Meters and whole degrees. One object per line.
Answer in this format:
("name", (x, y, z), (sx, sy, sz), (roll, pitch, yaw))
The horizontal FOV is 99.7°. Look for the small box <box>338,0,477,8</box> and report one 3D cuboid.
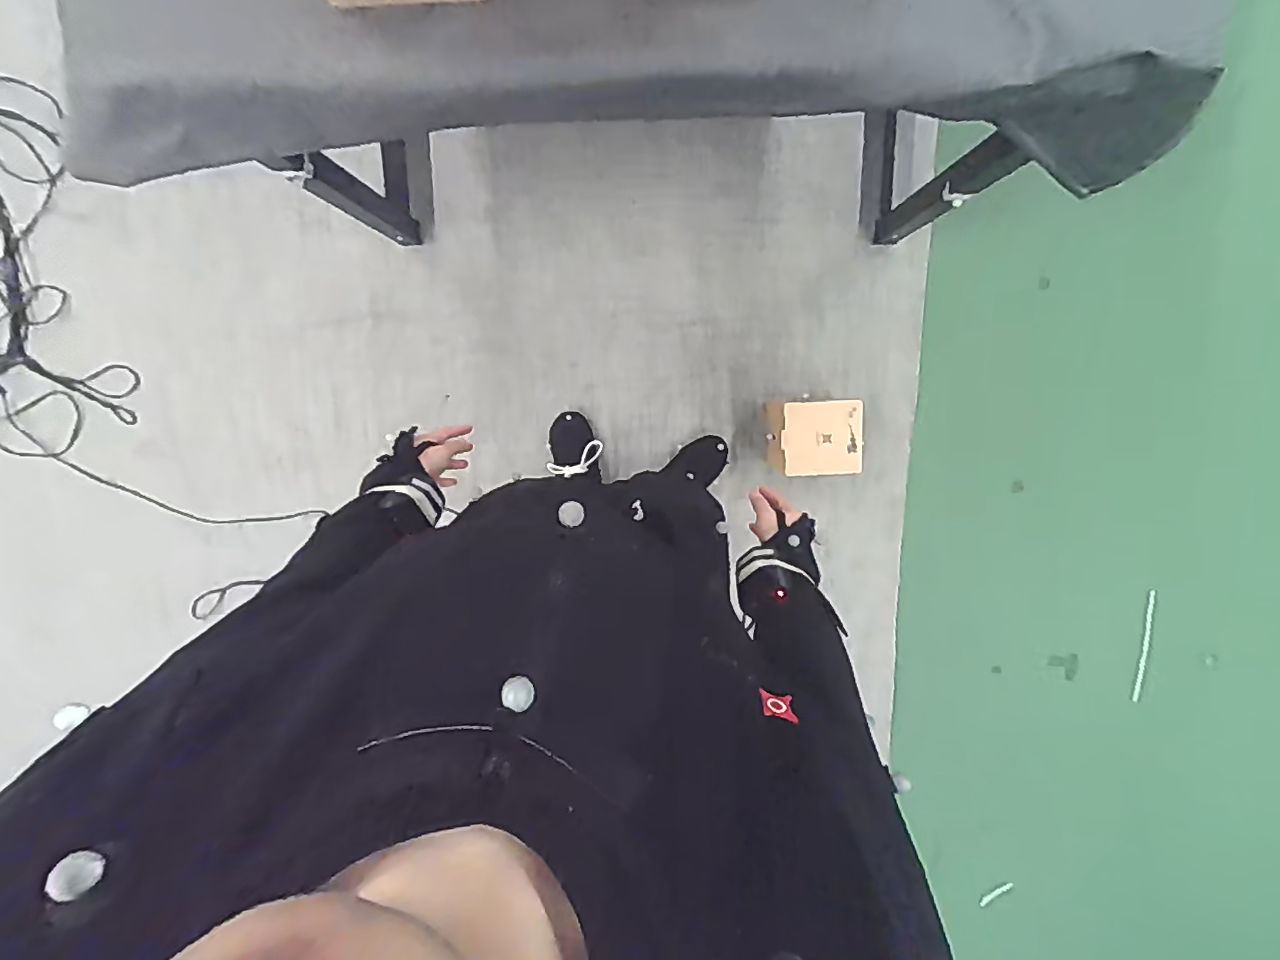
("small box", (-0.239, -0.556, 0.458), (0.168, 0.176, 0.179), (-2, 100, 1))
